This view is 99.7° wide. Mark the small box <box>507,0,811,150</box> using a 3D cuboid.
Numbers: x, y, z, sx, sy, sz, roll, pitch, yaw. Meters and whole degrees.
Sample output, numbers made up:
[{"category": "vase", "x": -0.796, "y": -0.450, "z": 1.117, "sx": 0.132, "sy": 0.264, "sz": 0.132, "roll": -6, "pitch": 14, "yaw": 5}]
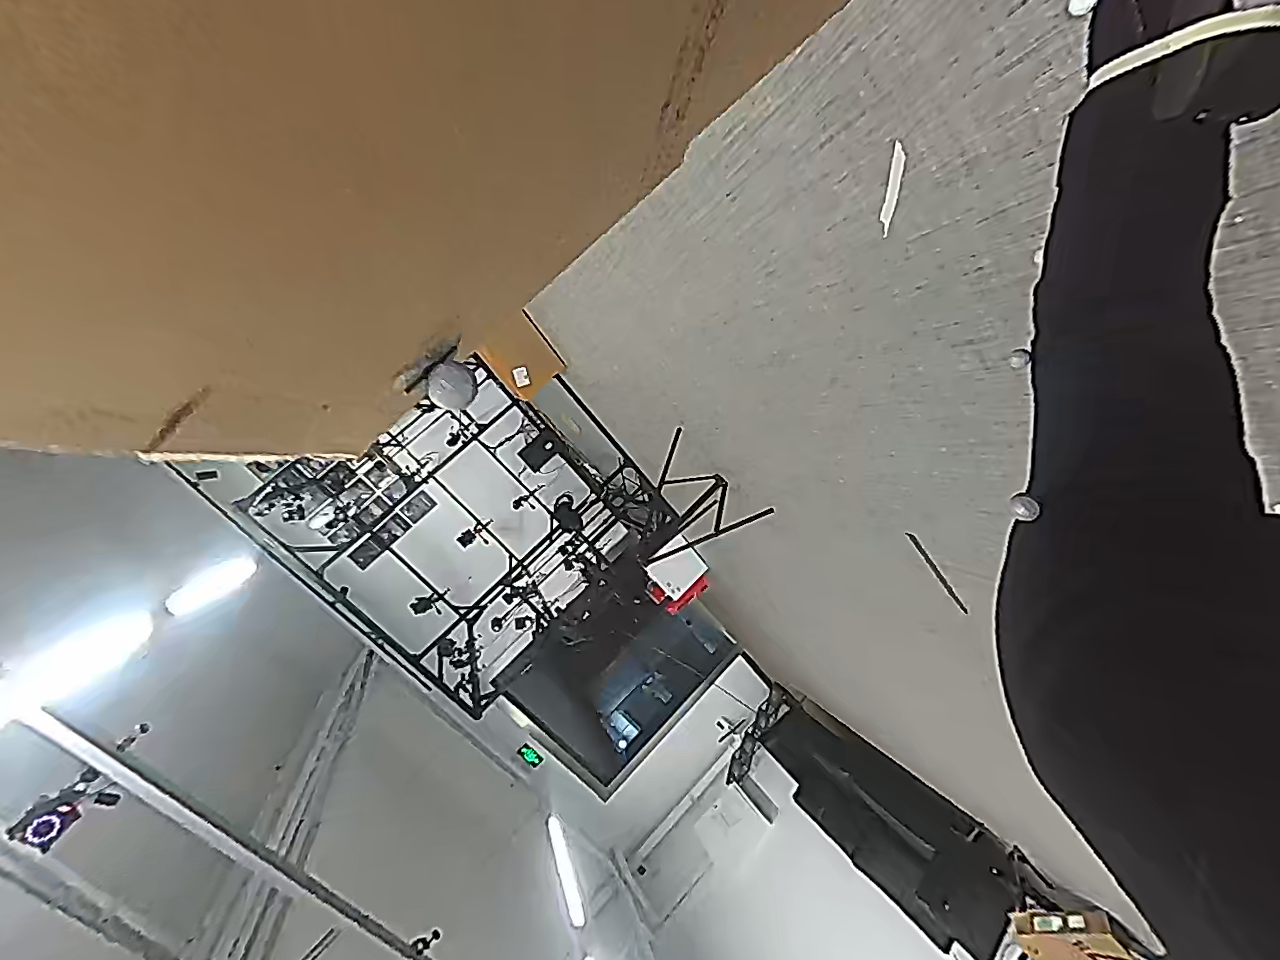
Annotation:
[{"category": "small box", "x": 0.018, "y": -0.240, "z": 0.125, "sx": 0.179, "sy": 0.176, "sz": 0.168, "roll": 46, "pitch": 174, "yaw": -6}]
